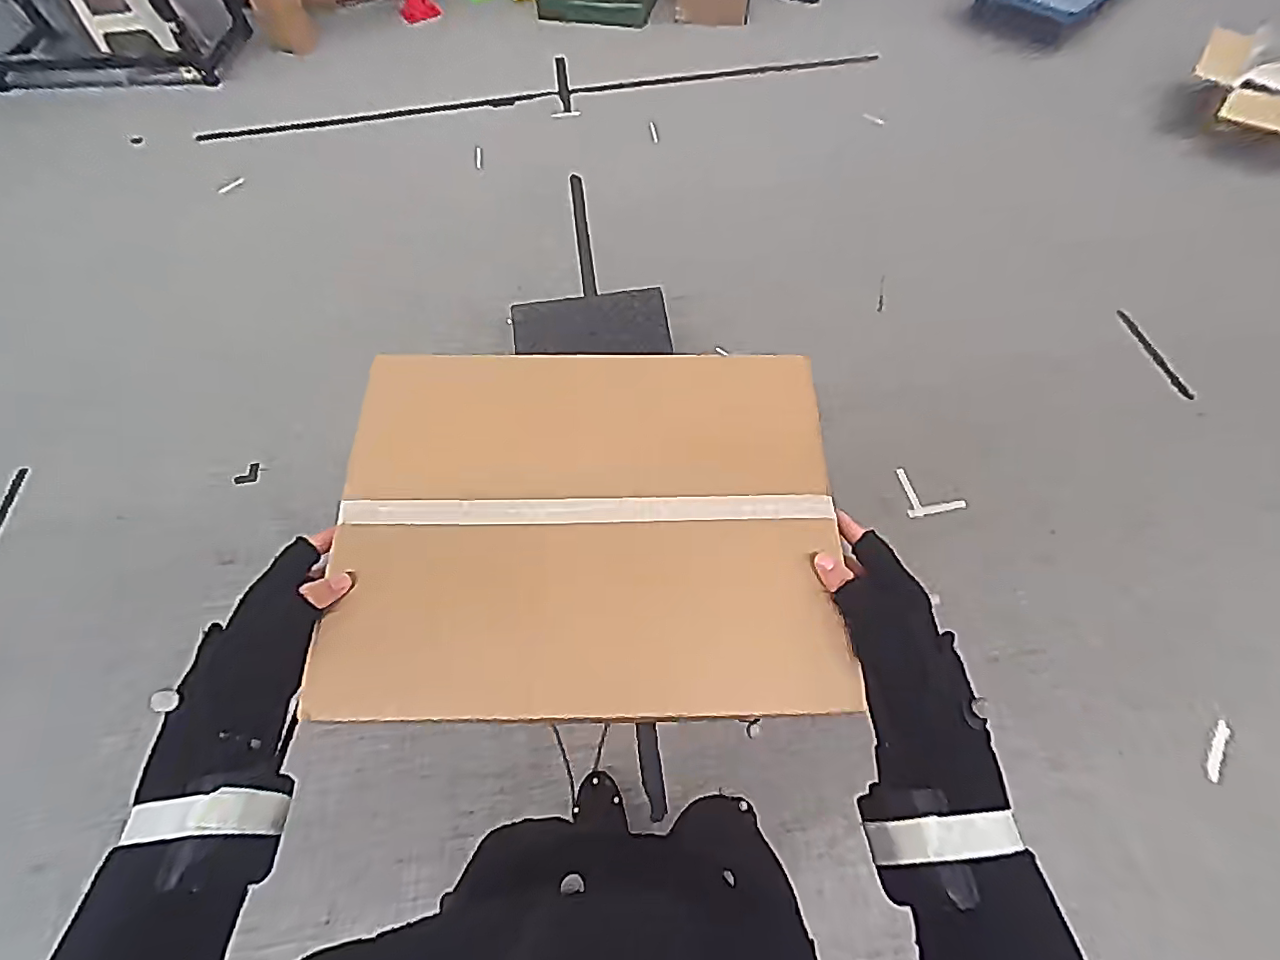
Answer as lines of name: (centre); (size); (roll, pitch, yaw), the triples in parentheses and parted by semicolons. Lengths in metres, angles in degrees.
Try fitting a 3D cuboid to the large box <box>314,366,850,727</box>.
large box: (-0.045, 0.092, 0.592); (0.408, 0.320, 0.320); (0, 66, -2)
